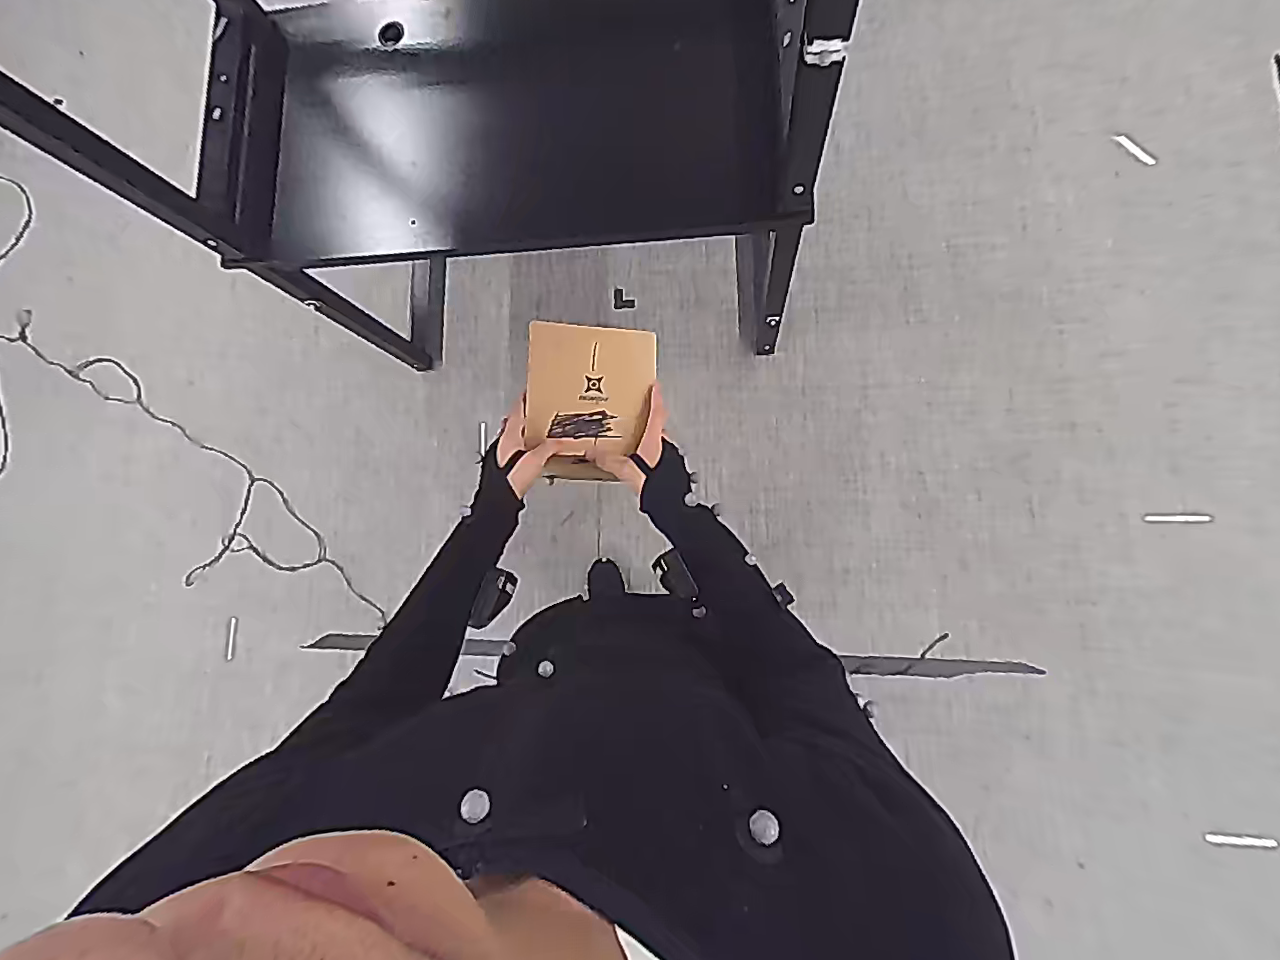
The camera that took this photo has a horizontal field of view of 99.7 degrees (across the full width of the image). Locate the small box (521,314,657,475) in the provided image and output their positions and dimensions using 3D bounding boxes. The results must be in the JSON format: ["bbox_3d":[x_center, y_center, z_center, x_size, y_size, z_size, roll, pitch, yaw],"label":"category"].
[{"bbox_3d":[-0.073,-0.106,0.753,0.168,0.176,0.179,3,80,-10],"label":"small box"}]
